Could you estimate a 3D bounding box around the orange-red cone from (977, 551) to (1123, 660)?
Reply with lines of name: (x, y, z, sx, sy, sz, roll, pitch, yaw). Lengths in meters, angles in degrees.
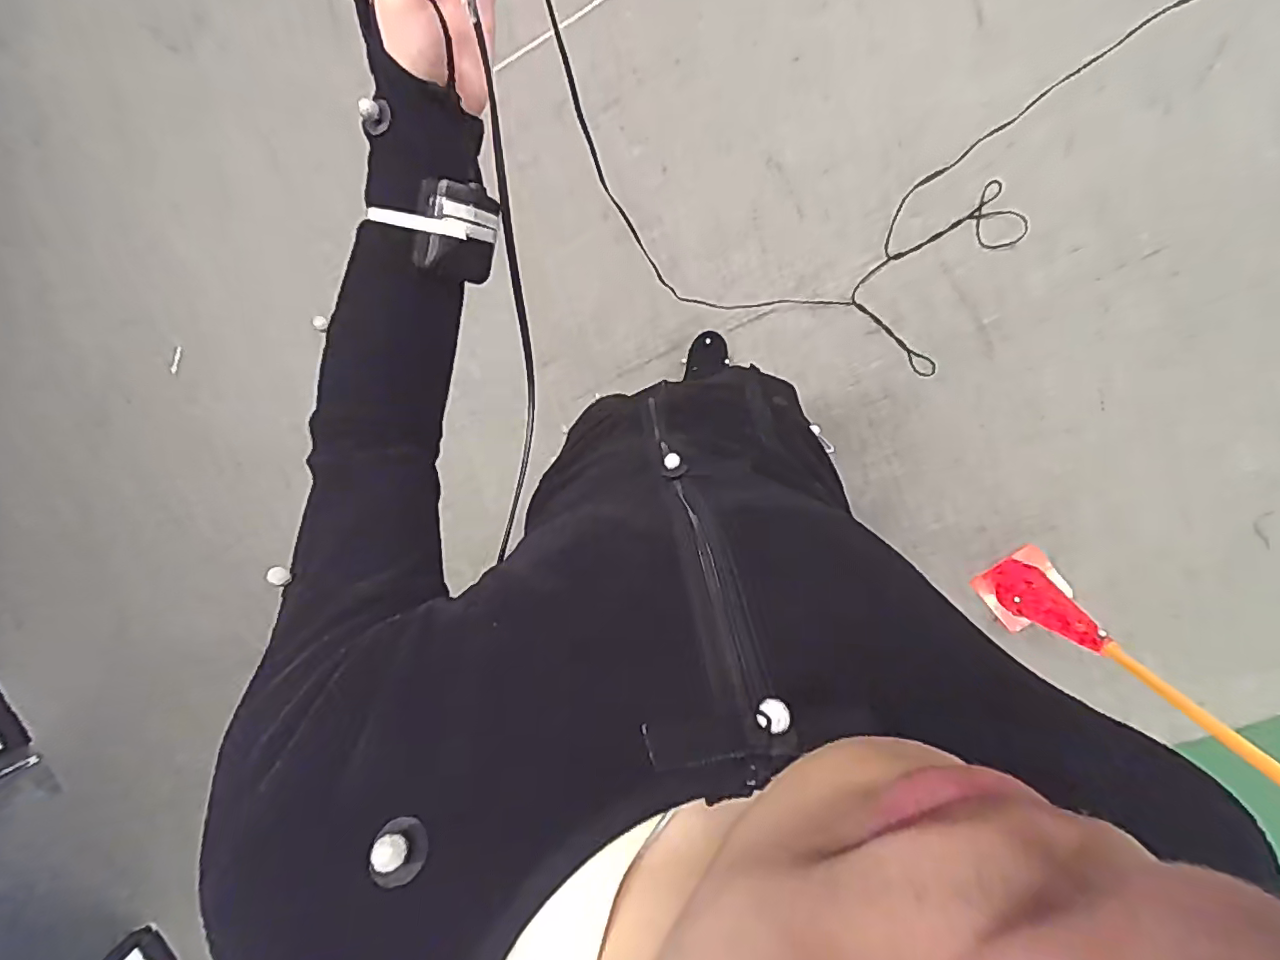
orange-red cone: (1.057, 0.345, 1.349, 0.199, 0.360, 0.198, -38, 94, 11)
